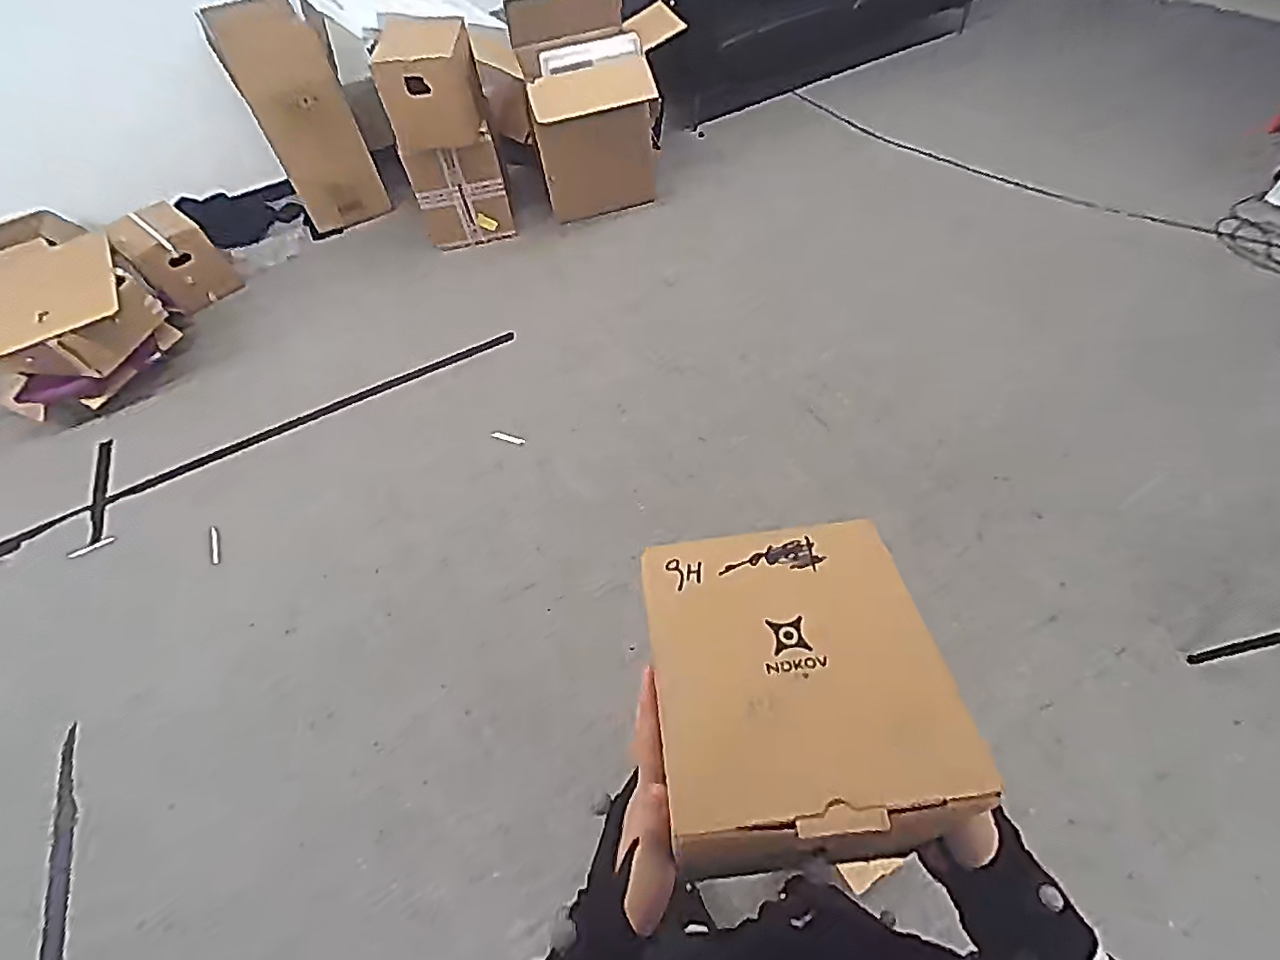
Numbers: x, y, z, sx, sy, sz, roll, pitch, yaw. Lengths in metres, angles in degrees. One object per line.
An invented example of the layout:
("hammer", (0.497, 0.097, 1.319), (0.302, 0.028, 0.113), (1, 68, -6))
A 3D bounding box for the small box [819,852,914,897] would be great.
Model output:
("small box", (0.387, 0.639, 1.014), (0.168, 0.176, 0.179), (-28, 57, -12))

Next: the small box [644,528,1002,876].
("small box", (0.096, 0.159, 0.375), (0.168, 0.176, 0.179), (-6, 48, 0))
